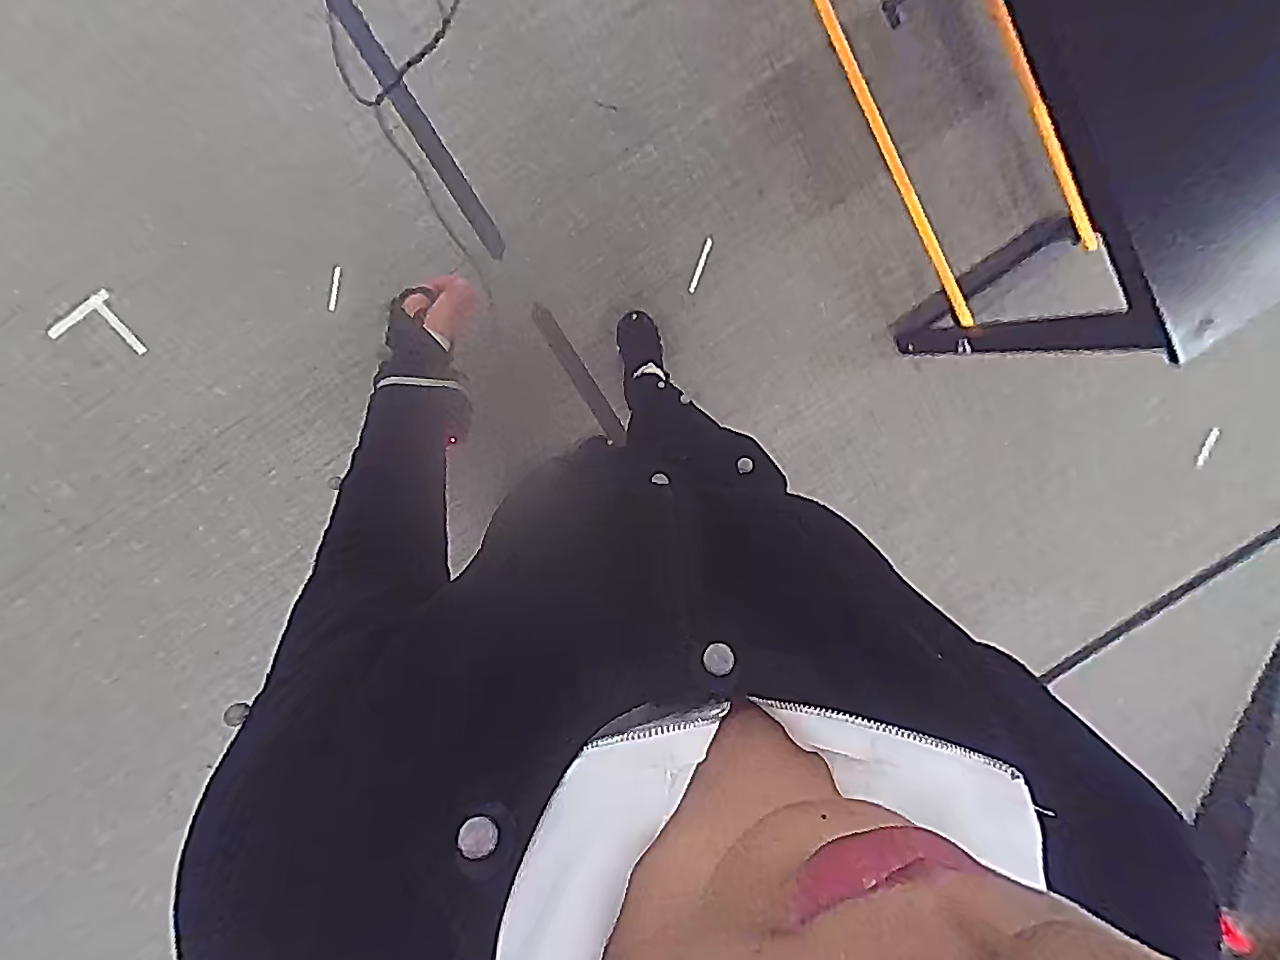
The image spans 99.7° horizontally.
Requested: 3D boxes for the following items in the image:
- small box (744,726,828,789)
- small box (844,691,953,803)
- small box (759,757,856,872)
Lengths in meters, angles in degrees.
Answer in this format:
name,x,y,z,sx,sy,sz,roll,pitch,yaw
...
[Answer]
name,x,y,z,sx,sy,sz,roll,pitch,yaw
small box,0.442,0.888,1.656,0.168,0.176,0.179,-33,103,2
small box,0.698,0.718,1.474,0.168,0.176,0.179,-38,102,2
small box,0.456,0.916,1.493,0.168,0.176,0.179,-32,103,2
